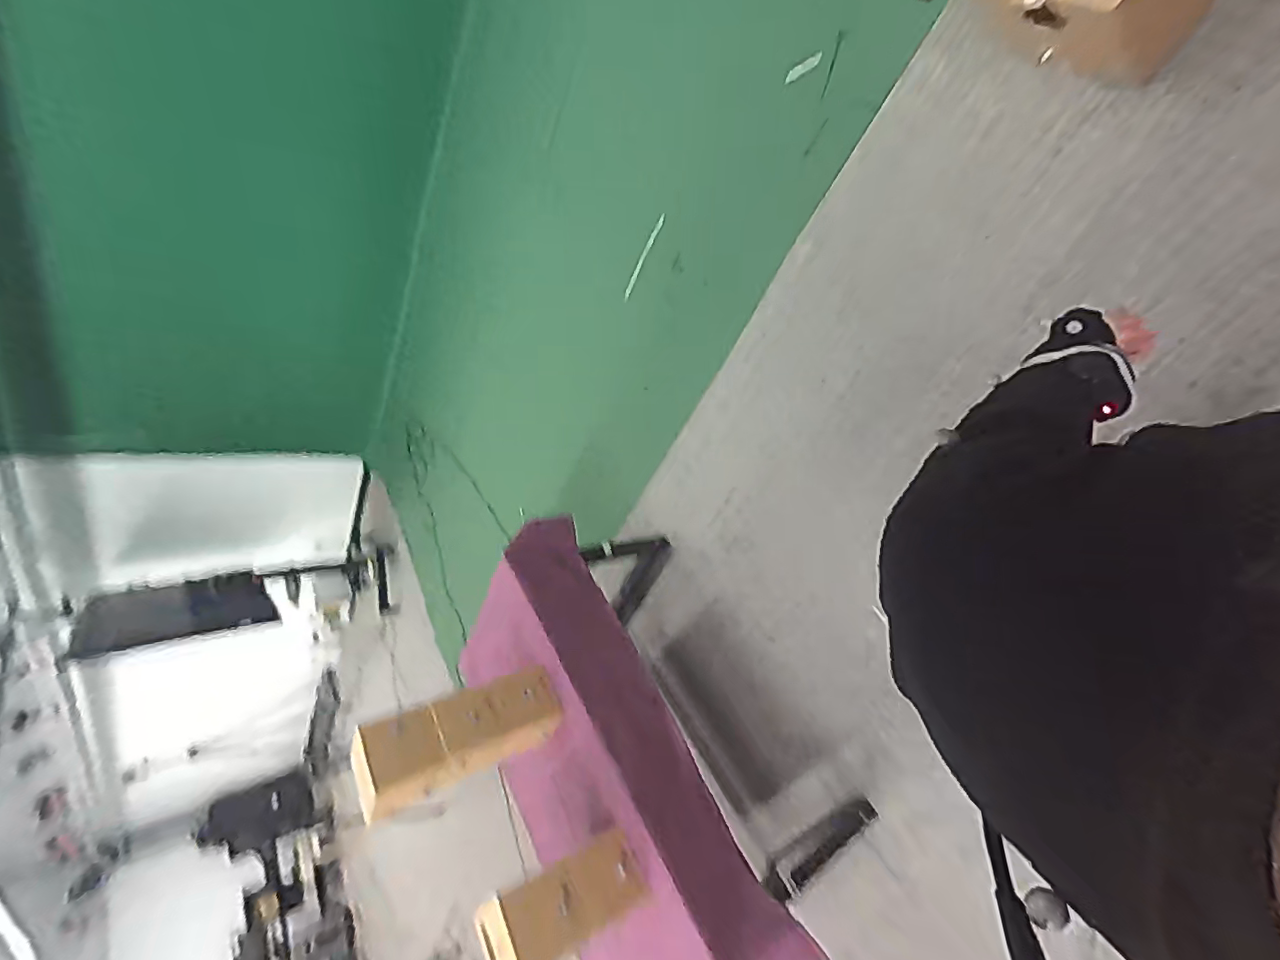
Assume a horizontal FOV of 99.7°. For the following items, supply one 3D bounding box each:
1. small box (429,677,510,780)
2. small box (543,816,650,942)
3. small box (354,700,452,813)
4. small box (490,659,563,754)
[{"bbox_3d":[-0.466,0.657,1.446,0.168,0.176,0.179,53,129,33],"label":"small box"},{"bbox_3d":[-0.104,0.958,1.307,0.168,0.176,0.179,54,129,31],"label":"small box"},{"bbox_3d":[-0.589,0.673,1.340,0.179,0.176,0.168,52,130,32],"label":"small box"},{"bbox_3d":[-0.343,0.645,1.557,0.168,0.176,0.179,53,129,32],"label":"small box"}]
